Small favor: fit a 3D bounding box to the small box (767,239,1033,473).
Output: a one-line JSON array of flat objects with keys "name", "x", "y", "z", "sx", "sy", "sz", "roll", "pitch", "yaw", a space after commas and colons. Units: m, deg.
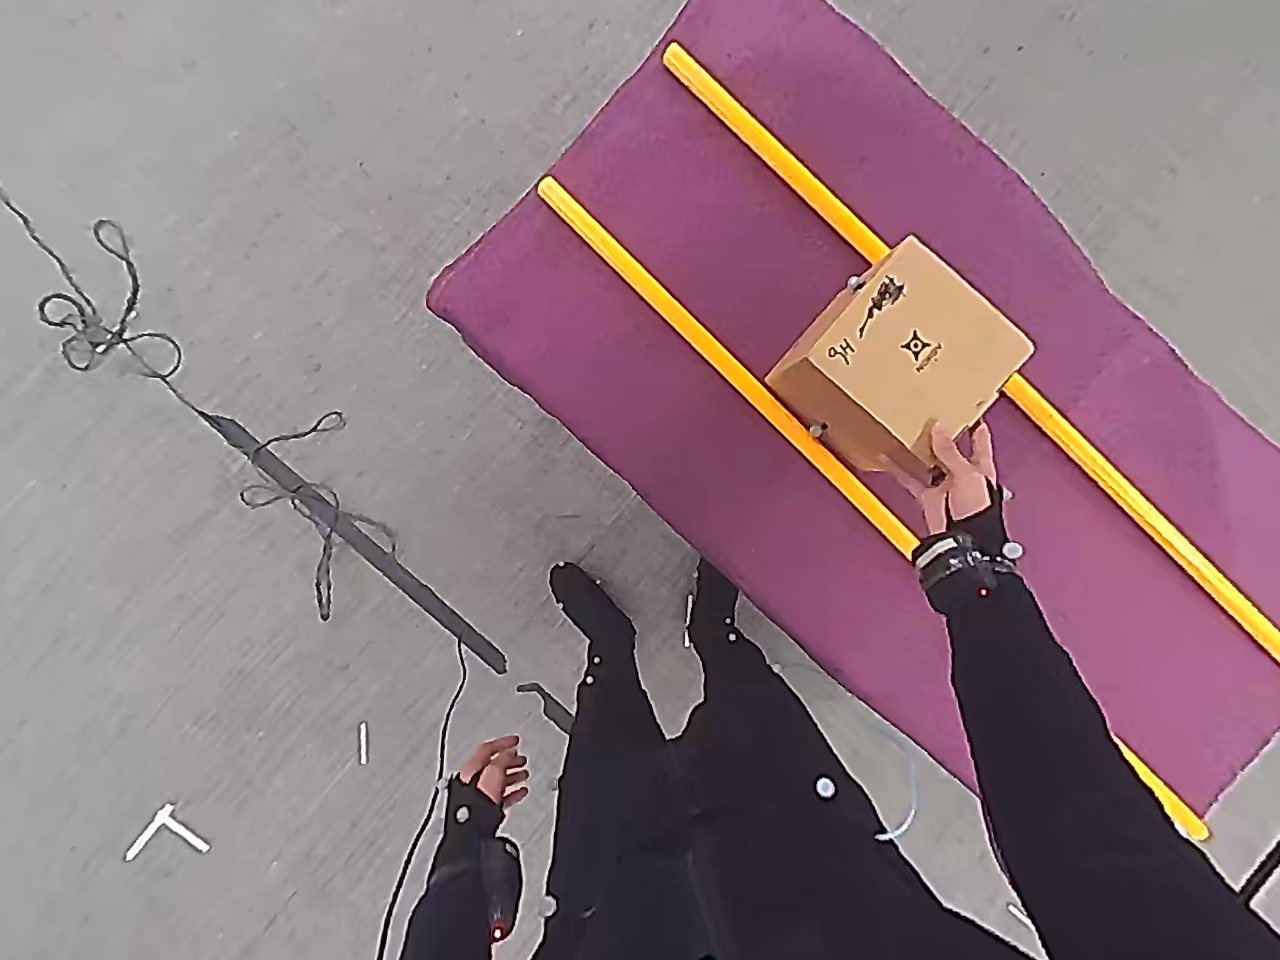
[{"name": "small box", "x": 0.277, "y": -0.127, "z": 0.618, "sx": 0.179, "sy": 0.176, "sz": 0.168, "roll": 42, "pitch": 89, "yaw": -3}]
